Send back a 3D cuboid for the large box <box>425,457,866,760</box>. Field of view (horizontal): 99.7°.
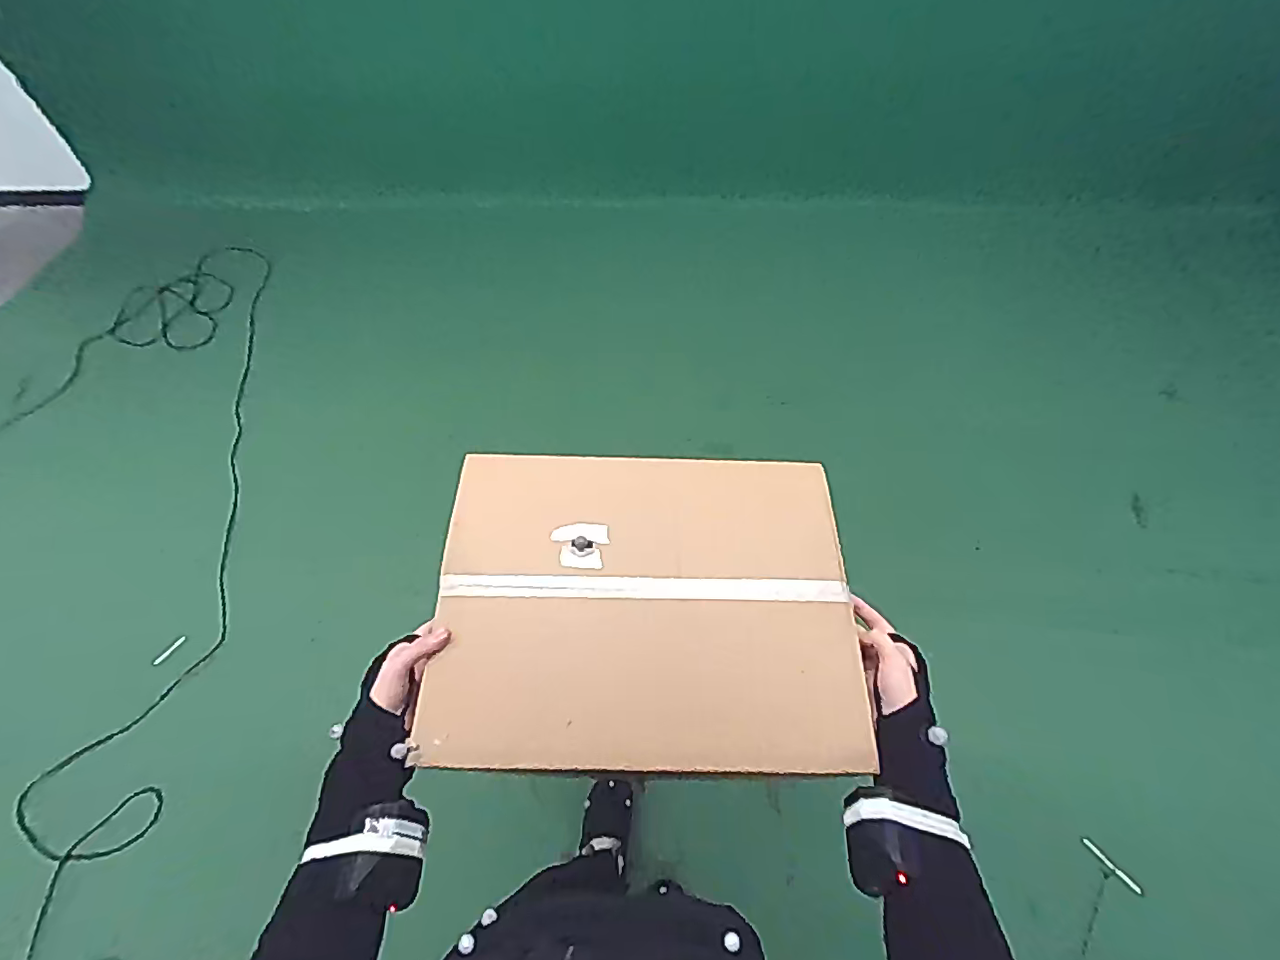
[{"bbox_3d":[0.007,0.179,0.682,0.408,0.320,0.320,1,60,0],"label":"large box"}]
